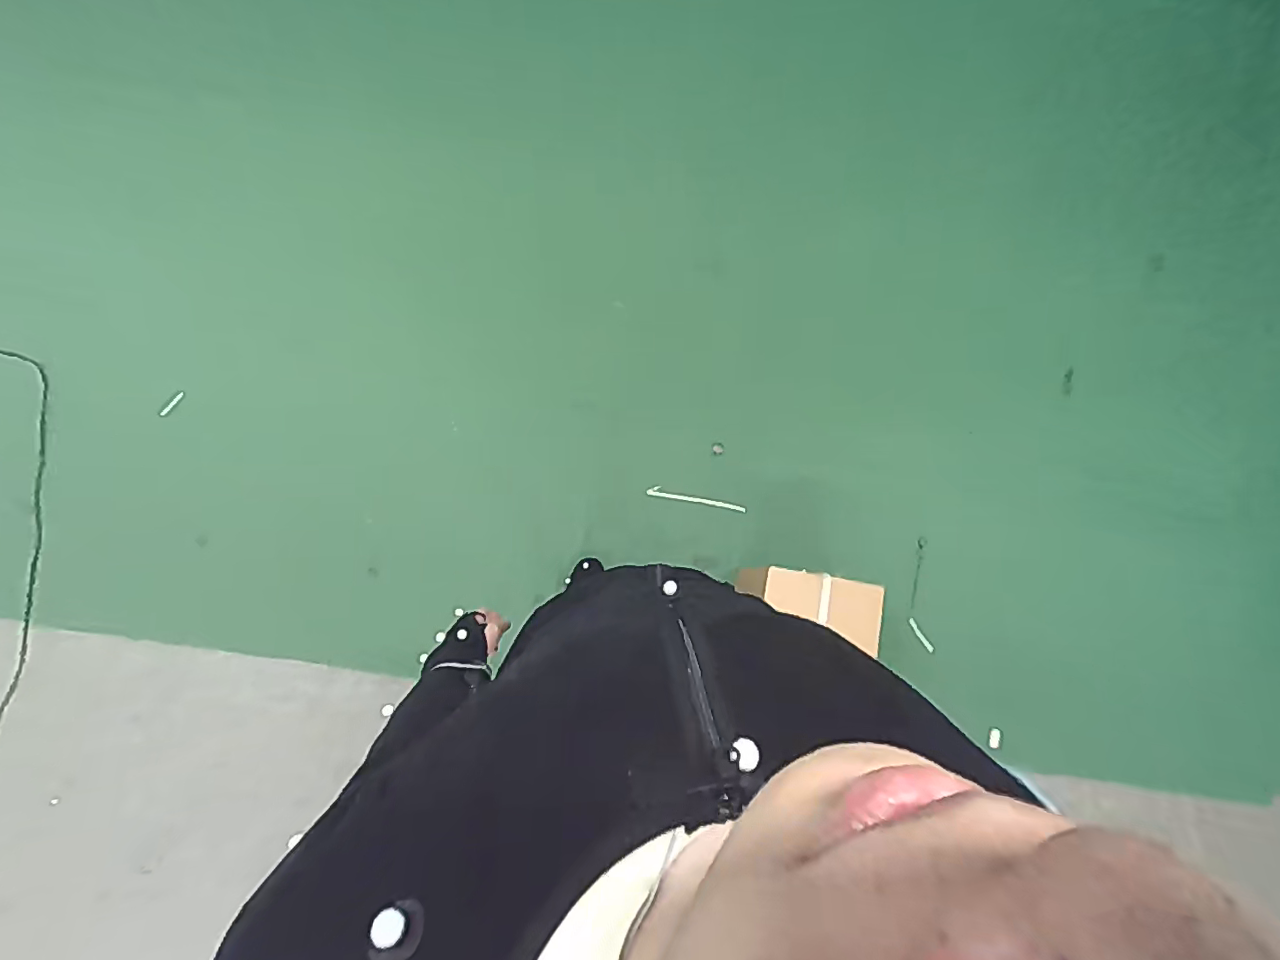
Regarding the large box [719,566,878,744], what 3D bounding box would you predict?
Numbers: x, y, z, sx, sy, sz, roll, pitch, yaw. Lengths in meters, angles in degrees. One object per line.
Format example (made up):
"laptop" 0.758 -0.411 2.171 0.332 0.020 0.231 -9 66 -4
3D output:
"large box" 0.427 0.460 1.510 0.320 0.320 0.408 10 81 -3
